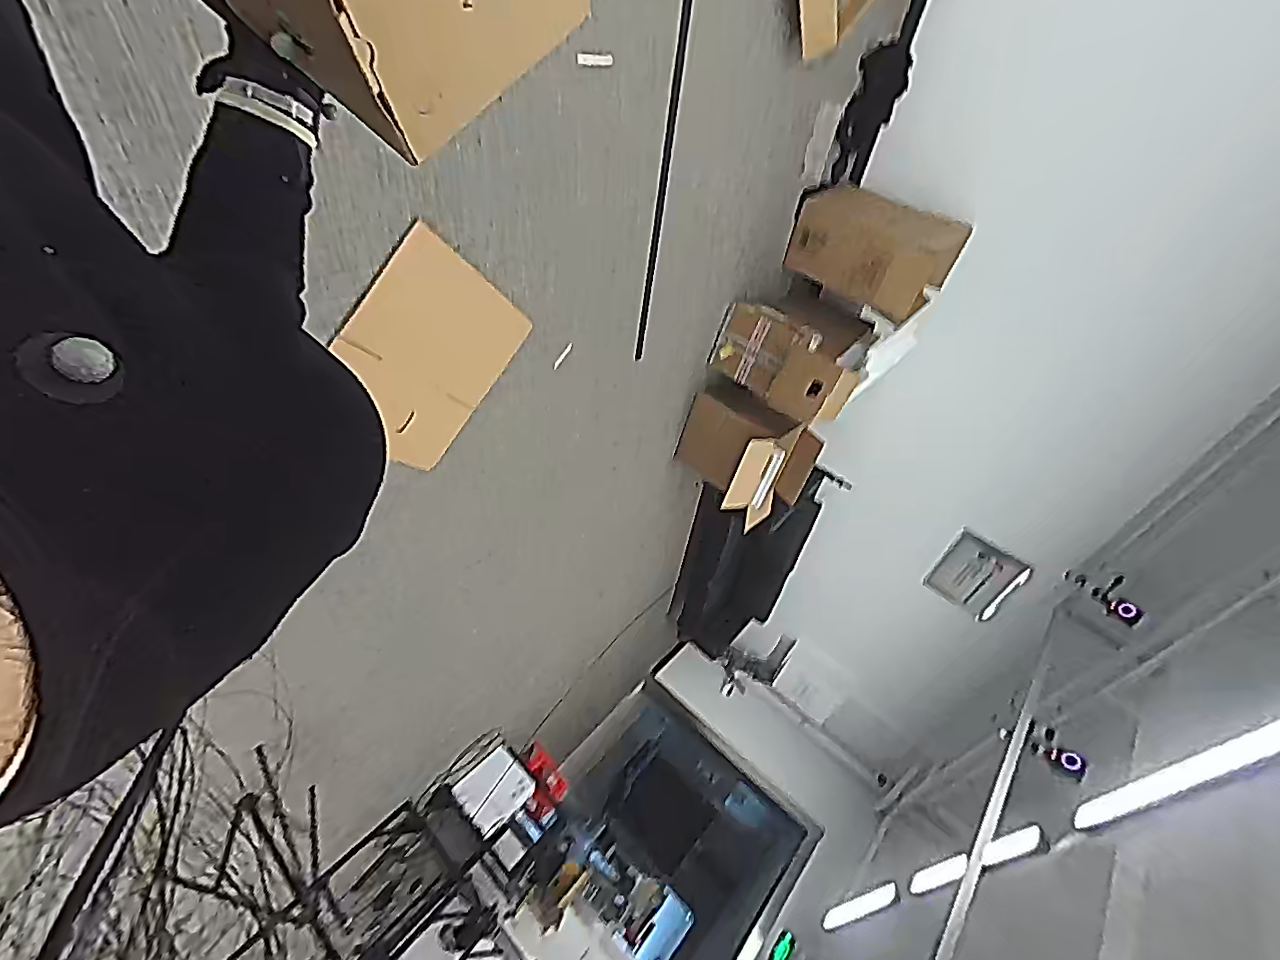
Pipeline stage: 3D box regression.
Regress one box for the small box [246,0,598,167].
[{"bbox_3d":[-0.143,-0.336,0.303,0.179,0.176,0.168,-49,178,-9],"label":"small box"}]
